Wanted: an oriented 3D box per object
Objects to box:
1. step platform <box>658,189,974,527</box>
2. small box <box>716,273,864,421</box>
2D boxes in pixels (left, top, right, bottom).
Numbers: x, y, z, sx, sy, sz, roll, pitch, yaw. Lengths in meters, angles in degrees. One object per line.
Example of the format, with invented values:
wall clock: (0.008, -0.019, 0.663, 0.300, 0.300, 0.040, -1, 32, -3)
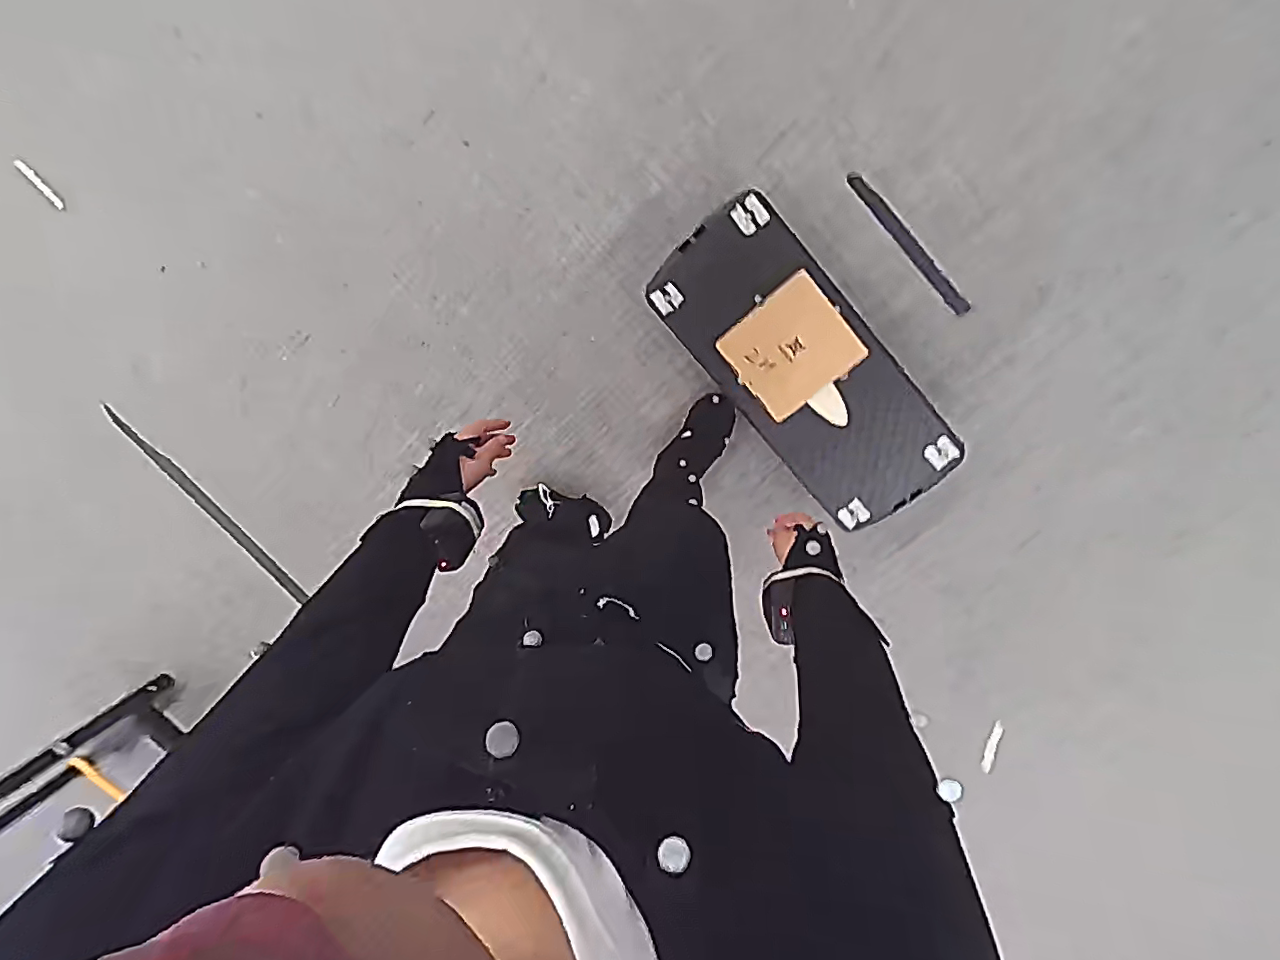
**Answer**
step platform: (0.346, -0.232, 1.100, 0.286, 0.204, 0.684, -40, 96, 18)
small box: (0.249, -0.231, 0.933, 0.179, 0.176, 0.168, -38, 97, 19)
